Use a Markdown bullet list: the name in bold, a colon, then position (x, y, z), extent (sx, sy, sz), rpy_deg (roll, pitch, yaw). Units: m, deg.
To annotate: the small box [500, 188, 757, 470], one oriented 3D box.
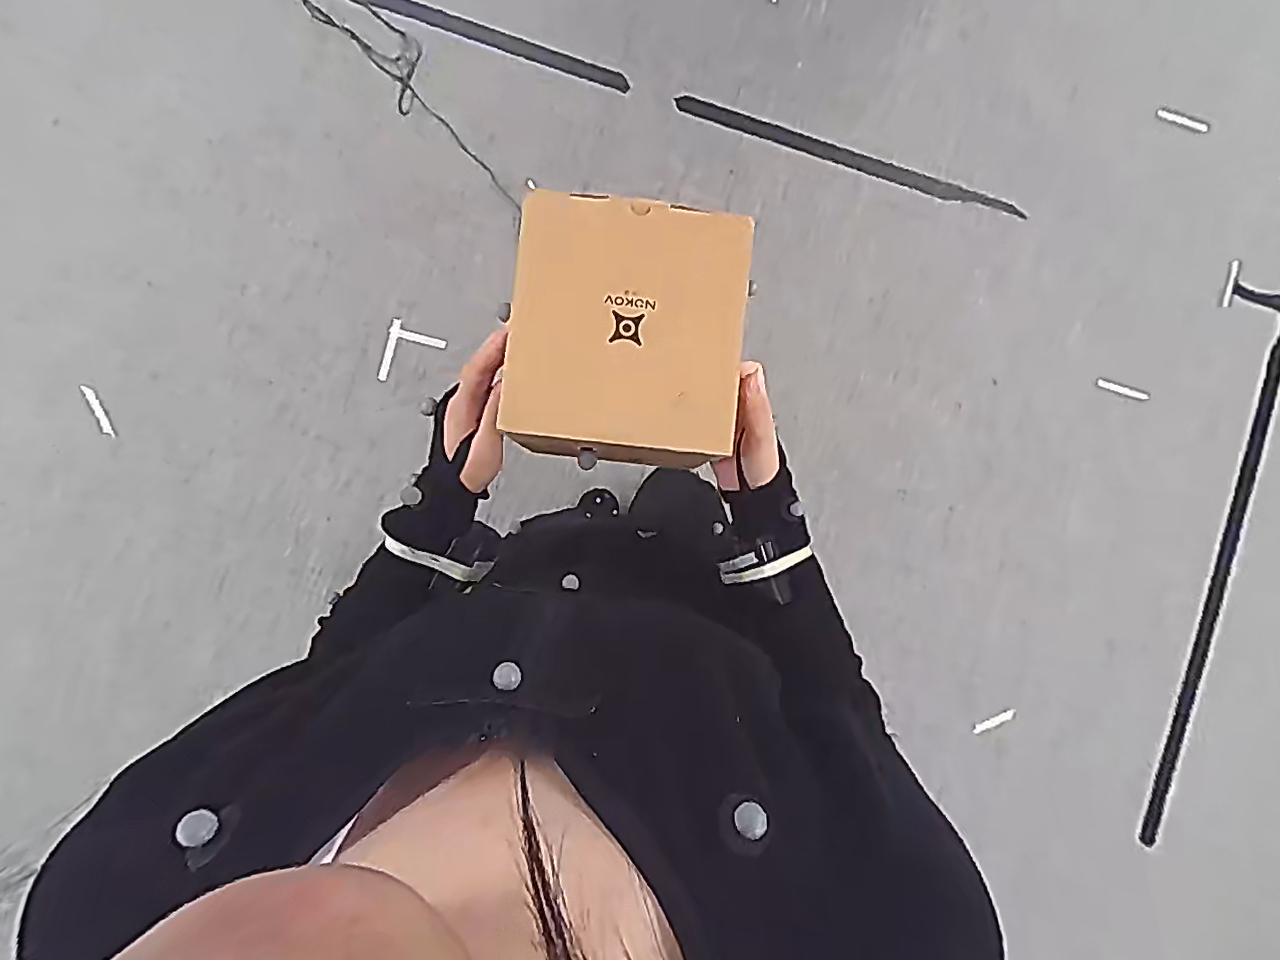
- **small box**: position (-0.010, -0.105, 0.455), extent (0.168, 0.176, 0.179), rpy_deg (6, 86, -3)
